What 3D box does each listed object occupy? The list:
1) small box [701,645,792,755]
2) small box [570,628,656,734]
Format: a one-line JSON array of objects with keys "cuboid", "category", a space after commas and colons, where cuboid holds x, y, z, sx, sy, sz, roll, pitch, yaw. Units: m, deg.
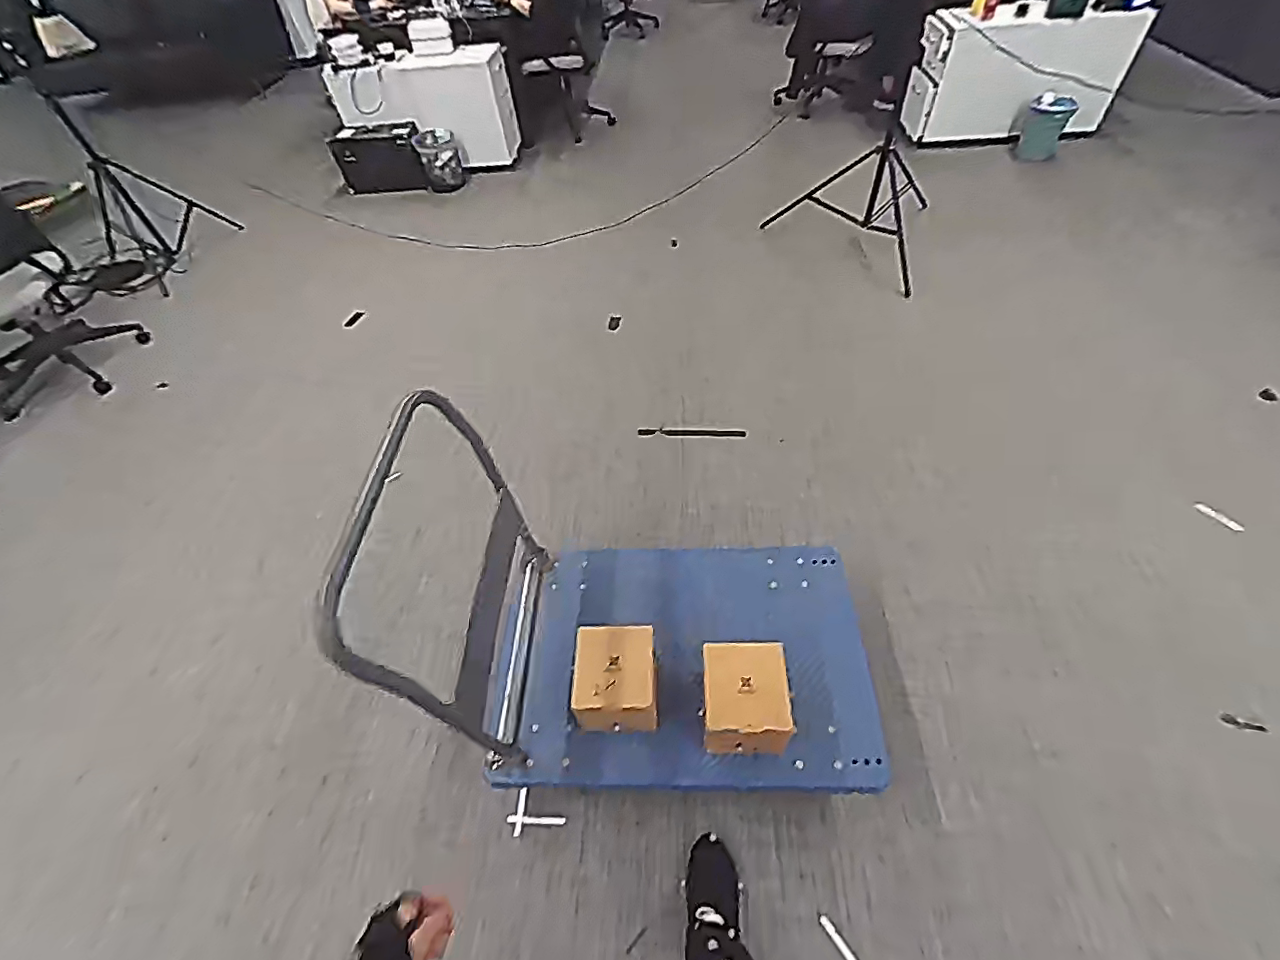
[{"cuboid": [0.217, 0.467, 1.147, 0.168, 0.176, 0.179, -2, 51, 4], "category": "small box"}, {"cuboid": [-0.052, 0.443, 1.190, 0.168, 0.176, 0.179, -3, 51, 4], "category": "small box"}]
